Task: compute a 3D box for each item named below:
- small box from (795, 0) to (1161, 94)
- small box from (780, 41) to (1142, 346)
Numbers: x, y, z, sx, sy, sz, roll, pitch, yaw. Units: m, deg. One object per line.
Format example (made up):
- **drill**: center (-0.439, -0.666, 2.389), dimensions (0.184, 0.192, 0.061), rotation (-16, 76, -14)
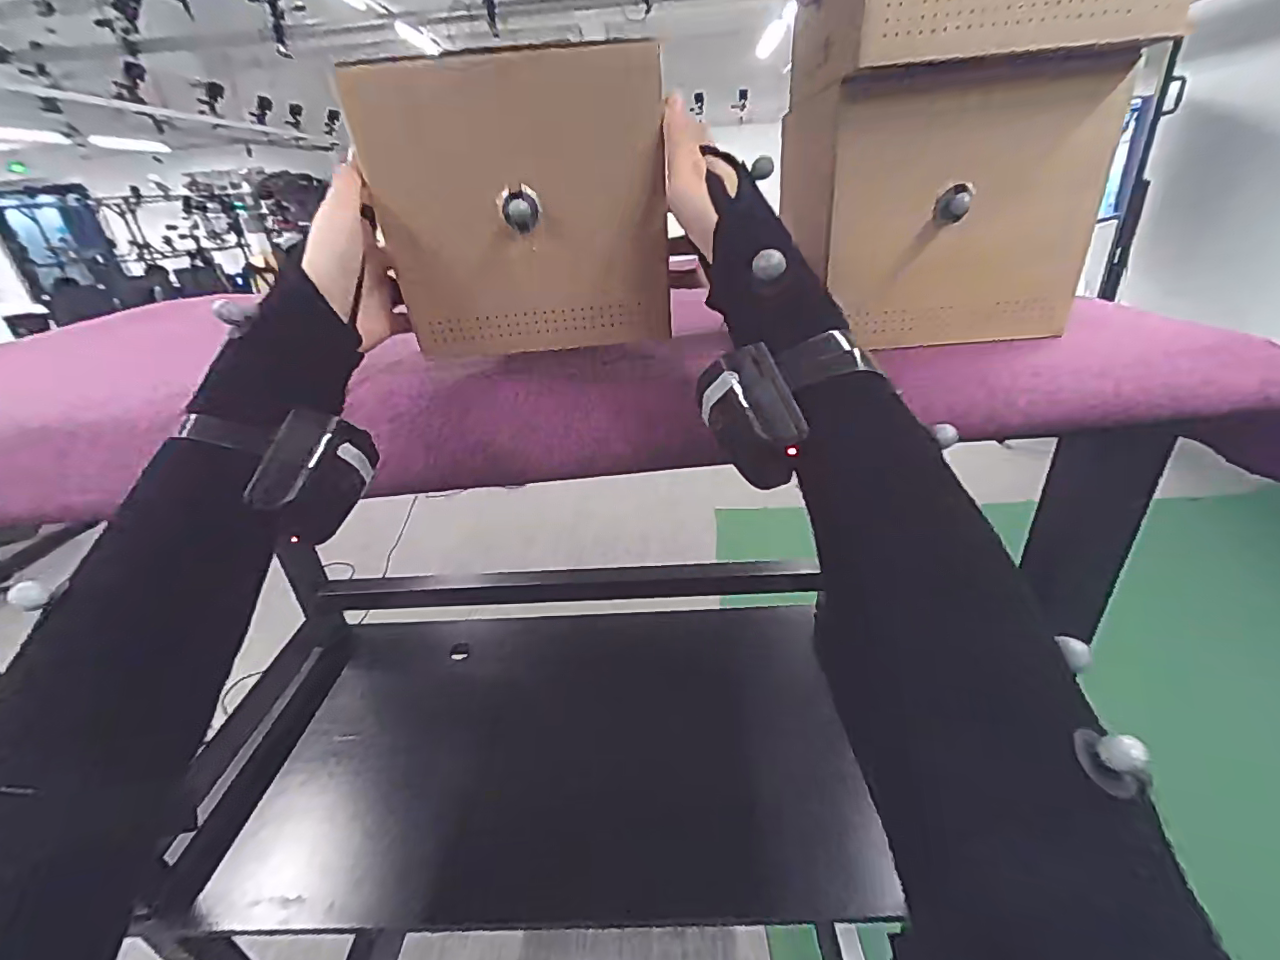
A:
- **small box**: center (0.202, -0.346, 0.326), dimensions (0.179, 0.176, 0.168), rotation (-3, 27, 3)
- **small box**: center (0.213, -0.211, 0.421), dimensions (0.179, 0.176, 0.168), rotation (-4, 28, 4)
